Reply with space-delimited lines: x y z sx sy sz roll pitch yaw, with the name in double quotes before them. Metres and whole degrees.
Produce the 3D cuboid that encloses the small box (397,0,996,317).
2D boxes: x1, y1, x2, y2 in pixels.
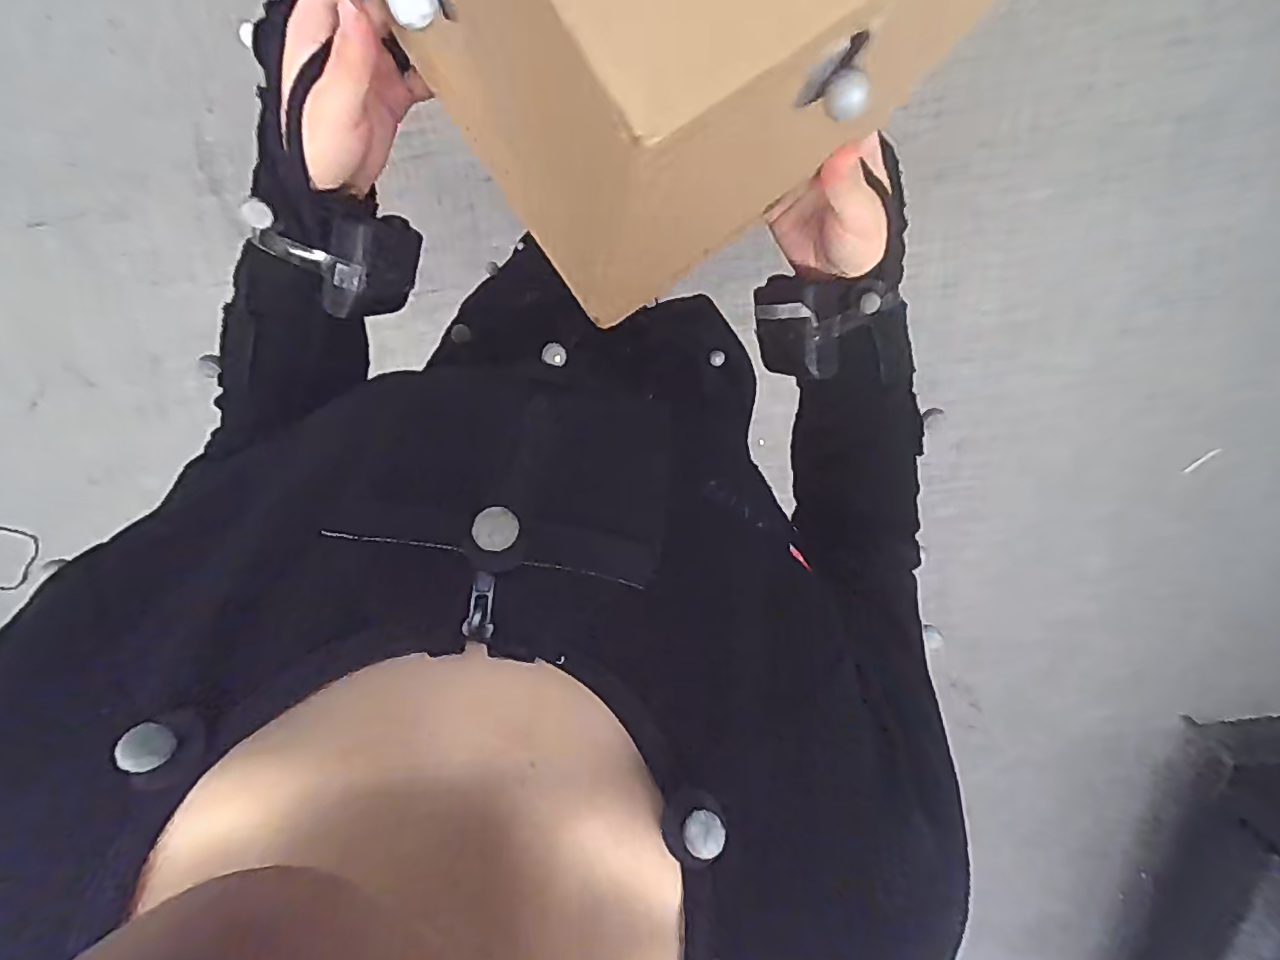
"small box" 0.009 -0.192 0.204 0.168 0.176 0.179 -37 96 -3
